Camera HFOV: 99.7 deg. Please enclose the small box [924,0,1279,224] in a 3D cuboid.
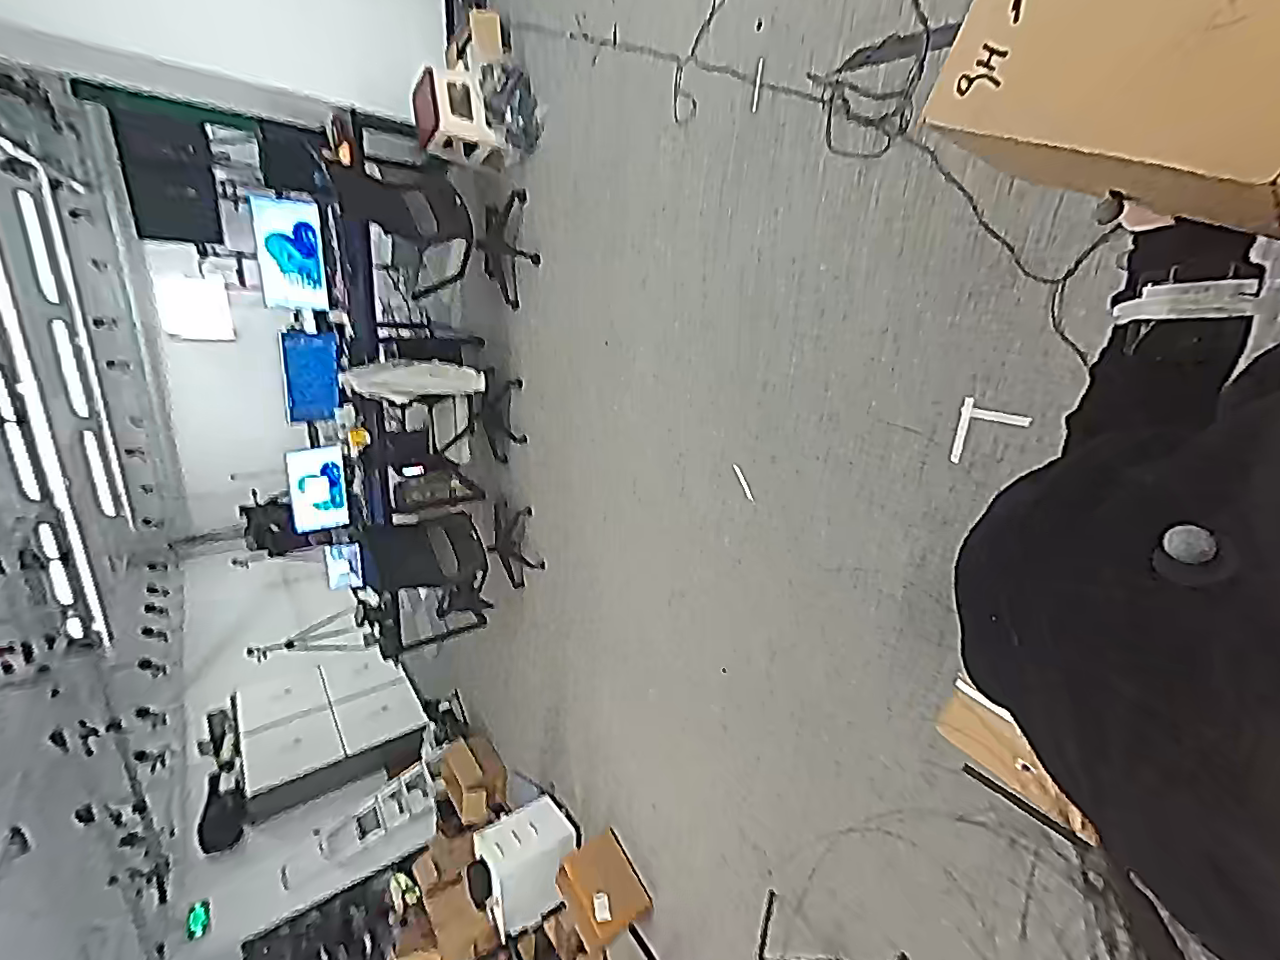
[{"bbox_3d":[0.306,-0.250,0.288,0.179,0.176,0.168,44,130,36],"label":"small box"}]
